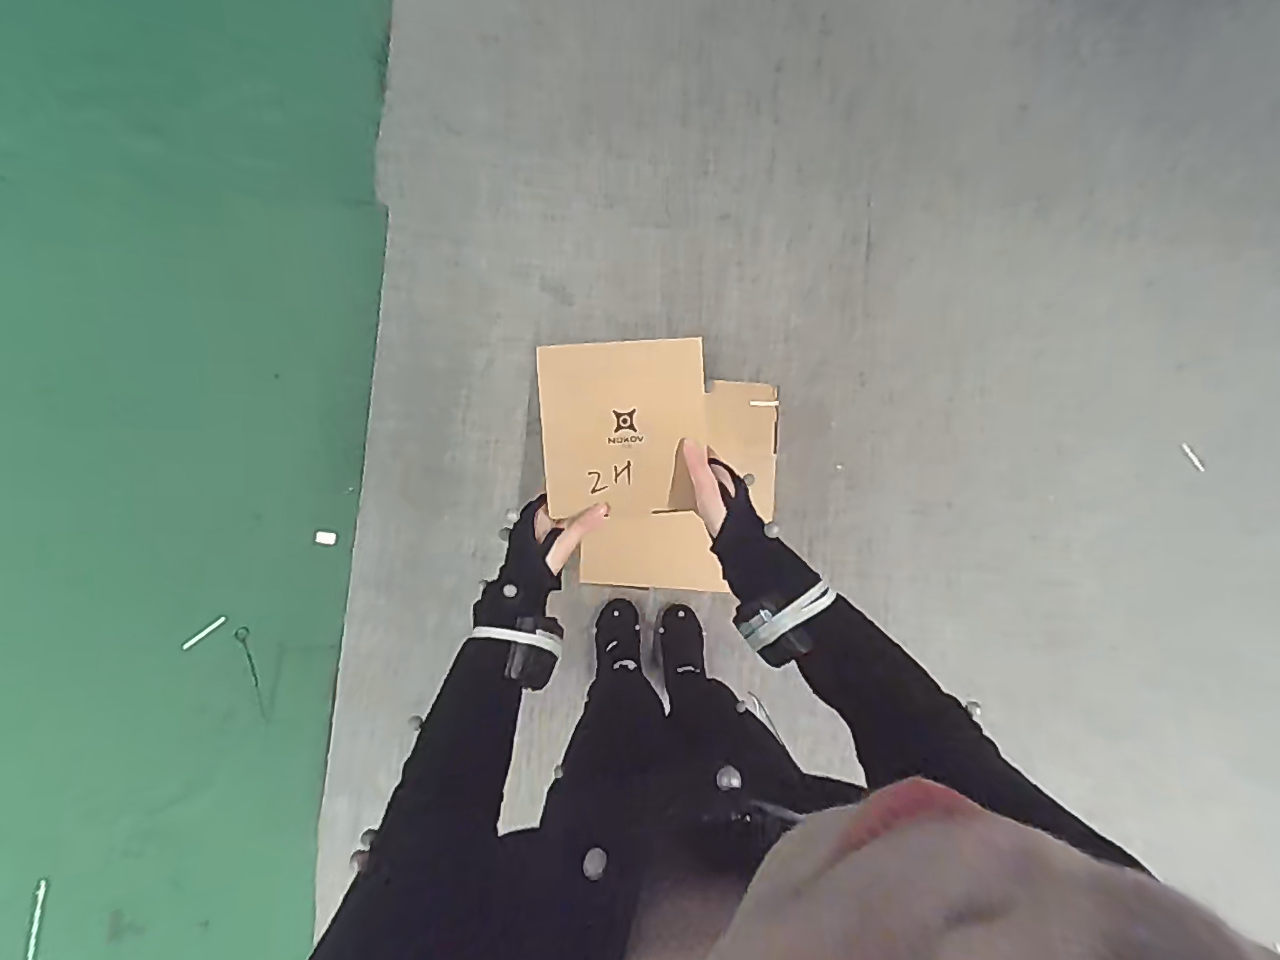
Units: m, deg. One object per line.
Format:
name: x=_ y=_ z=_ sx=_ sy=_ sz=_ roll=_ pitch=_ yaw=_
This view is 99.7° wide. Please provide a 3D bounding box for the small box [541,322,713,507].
small box: x=-0.014 y=-0.072 z=0.613 sx=0.168 sy=0.176 sz=0.179 roll=-4 pitch=97 yaw=0
